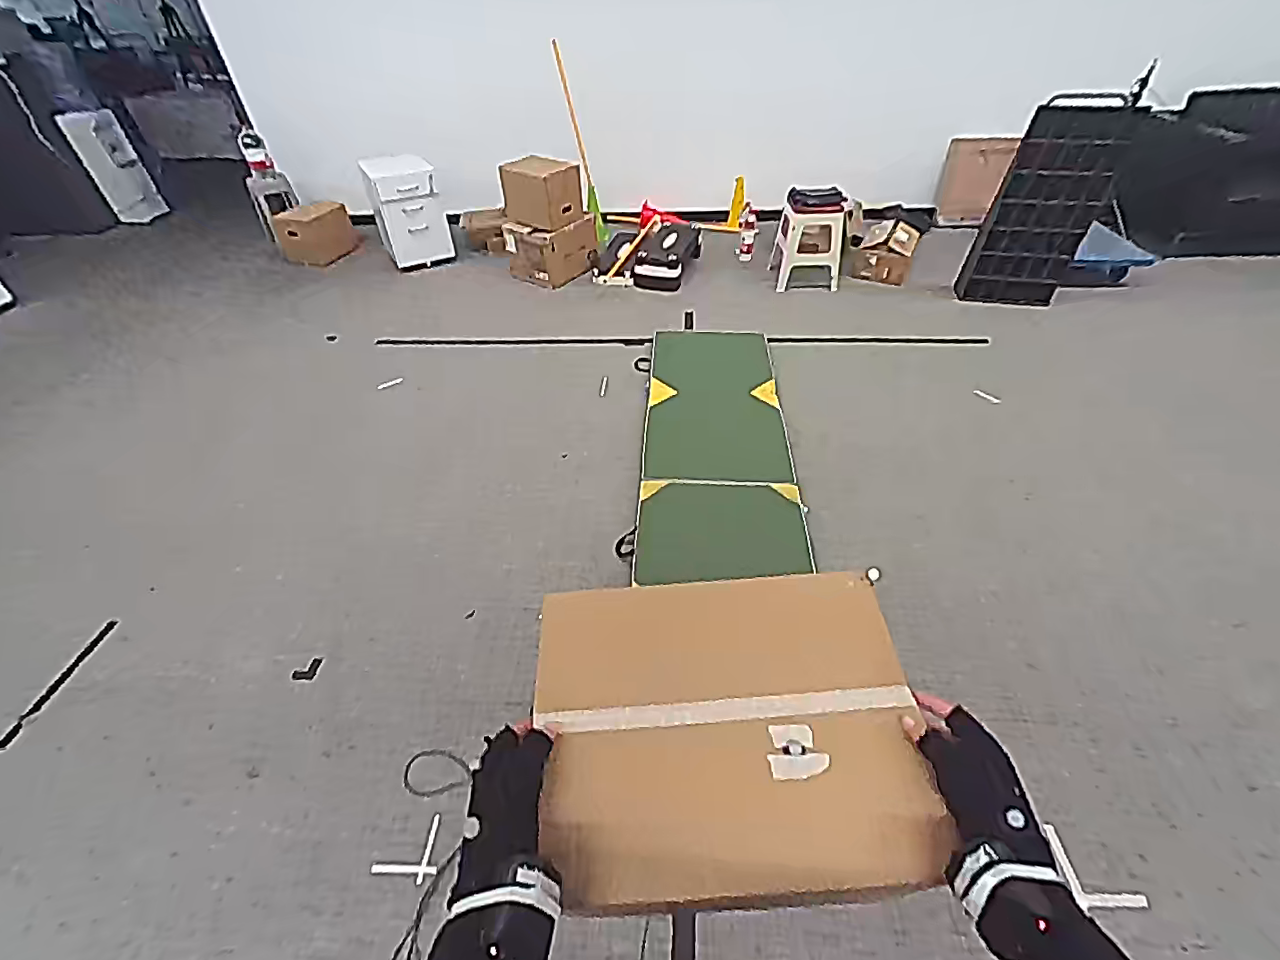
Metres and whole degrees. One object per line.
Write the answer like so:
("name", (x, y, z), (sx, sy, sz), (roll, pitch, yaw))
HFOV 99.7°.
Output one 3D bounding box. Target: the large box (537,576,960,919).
("large box", (0.098, 0.352, 0.706), (0.408, 0.320, 0.320), (-4, 50, 0))
